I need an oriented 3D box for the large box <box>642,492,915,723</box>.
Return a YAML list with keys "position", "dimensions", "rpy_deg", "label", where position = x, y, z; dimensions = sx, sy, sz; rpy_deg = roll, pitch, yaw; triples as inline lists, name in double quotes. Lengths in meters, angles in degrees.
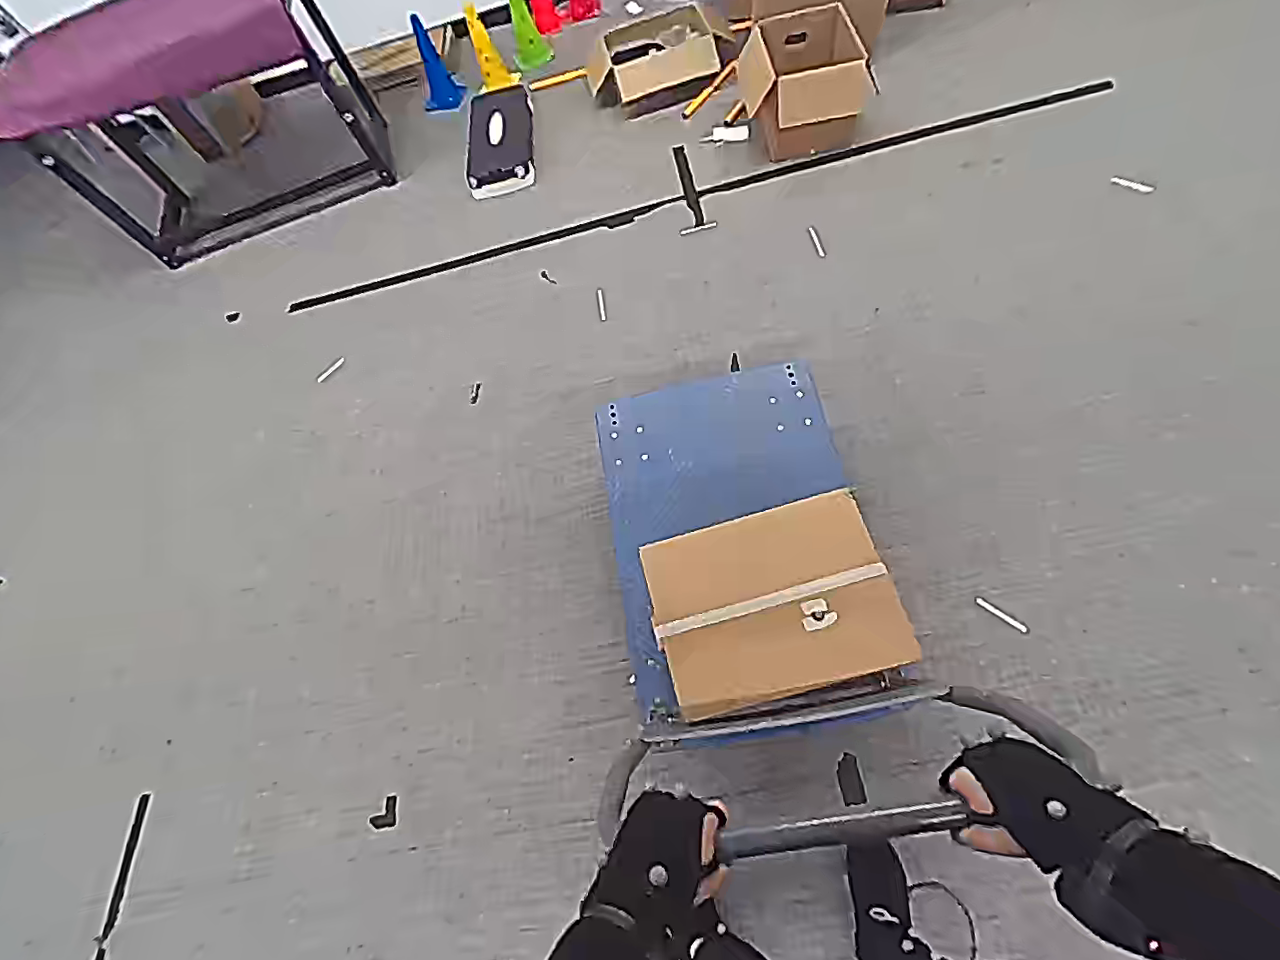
- position: [0.251, 0.268, 1.093]
  dimensions: [0.408, 0.320, 0.320]
  rpy_deg: [-17, 68, 2]
  label: "large box"
